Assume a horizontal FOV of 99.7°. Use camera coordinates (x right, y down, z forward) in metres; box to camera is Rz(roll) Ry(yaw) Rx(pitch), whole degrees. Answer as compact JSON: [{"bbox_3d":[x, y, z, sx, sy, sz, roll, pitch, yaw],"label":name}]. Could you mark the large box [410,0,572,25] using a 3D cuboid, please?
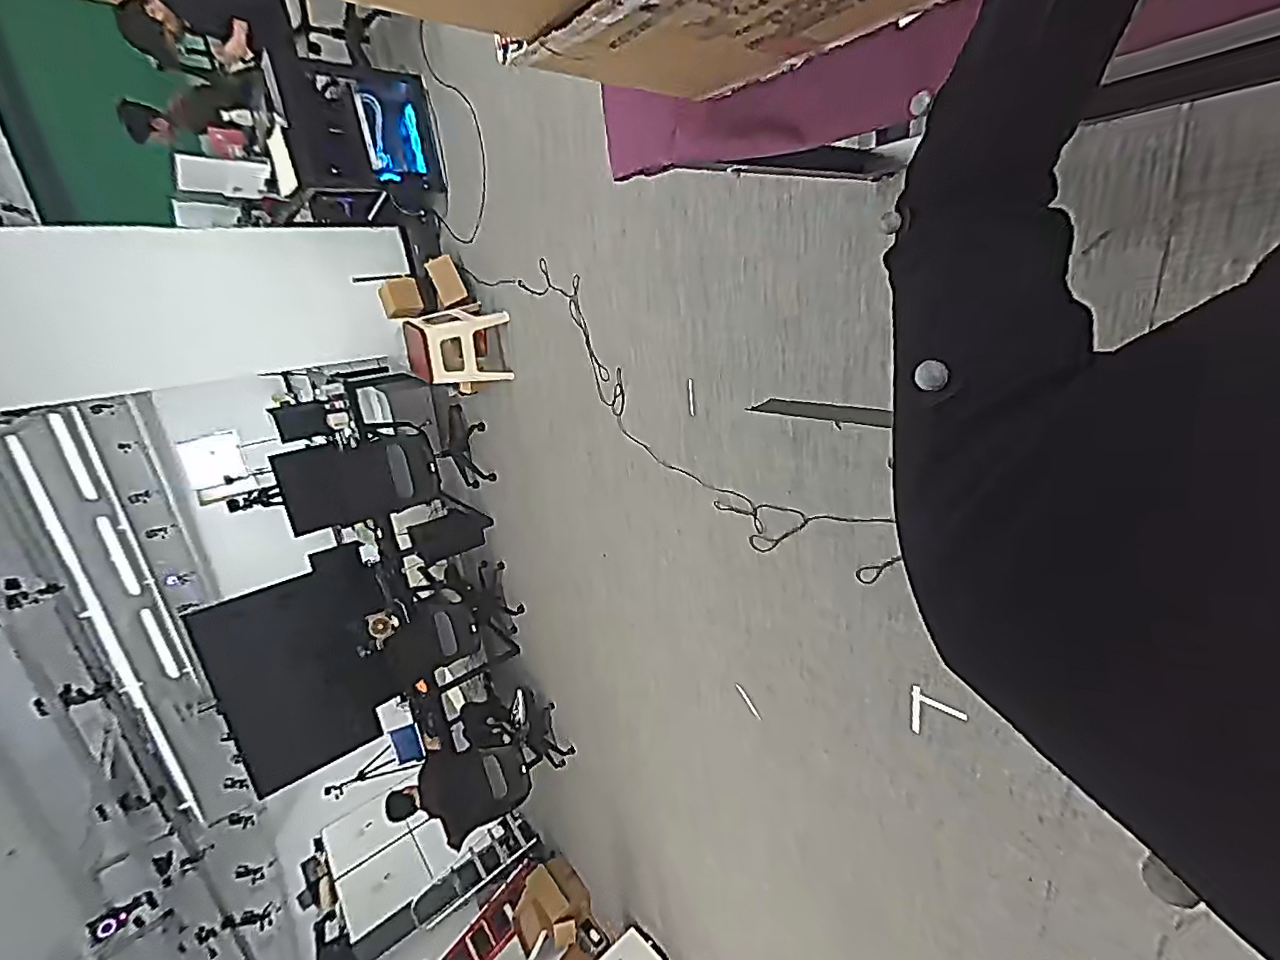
[{"bbox_3d":[-0.148,-0.581,0.298,0.320,0.320,0.408,18,121,50],"label":"large box"}]
